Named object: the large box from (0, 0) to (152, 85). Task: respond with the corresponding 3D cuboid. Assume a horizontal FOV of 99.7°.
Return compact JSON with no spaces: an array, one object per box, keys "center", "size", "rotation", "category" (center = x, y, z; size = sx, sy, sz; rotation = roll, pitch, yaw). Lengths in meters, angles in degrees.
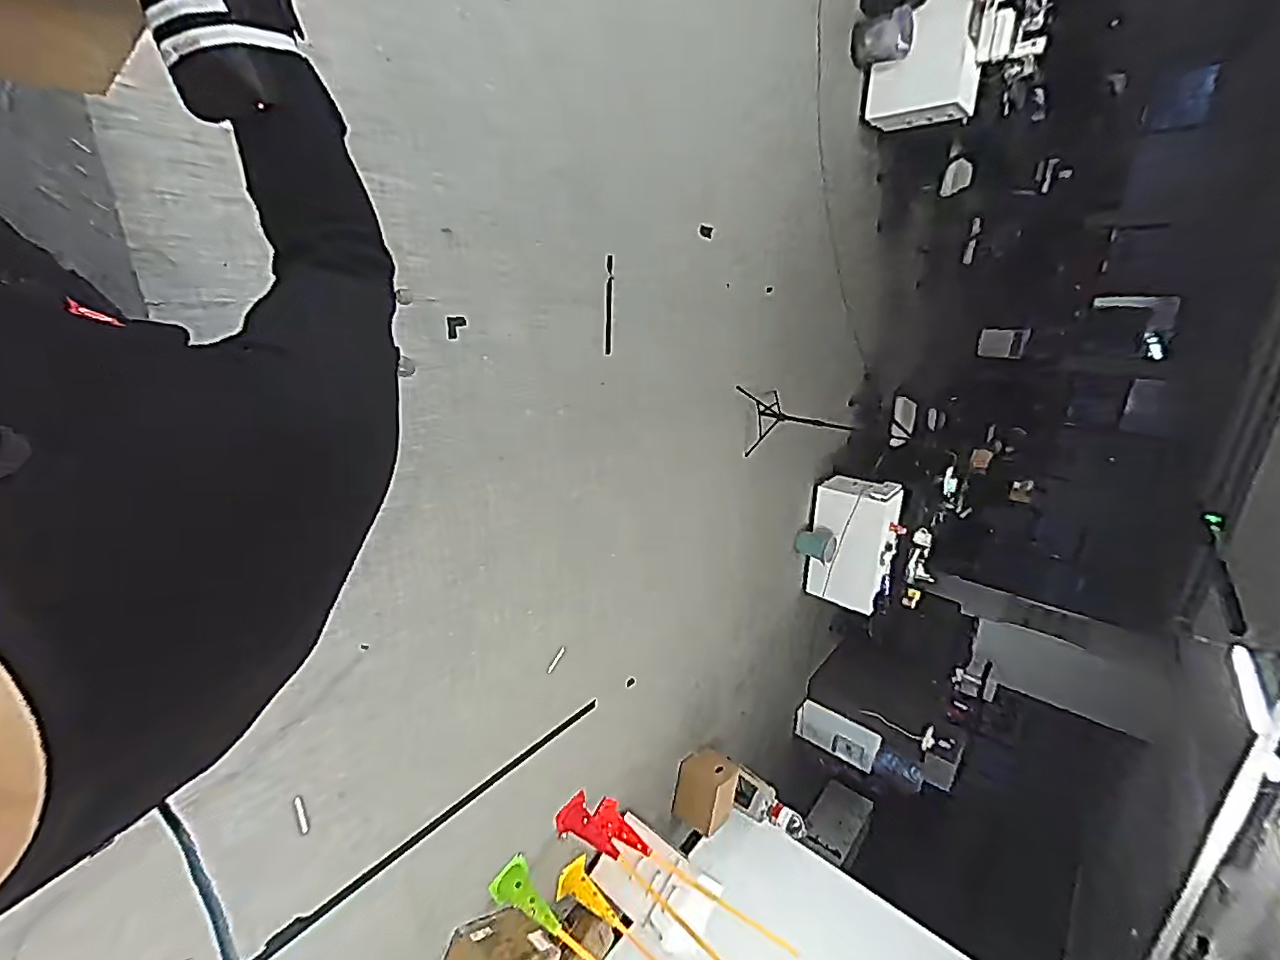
[{"center":[-0.541,-0.439,0.244],"size":[0.408,0.320,0.320],"rotation":[-22,120,-46],"category":"large box"}]
